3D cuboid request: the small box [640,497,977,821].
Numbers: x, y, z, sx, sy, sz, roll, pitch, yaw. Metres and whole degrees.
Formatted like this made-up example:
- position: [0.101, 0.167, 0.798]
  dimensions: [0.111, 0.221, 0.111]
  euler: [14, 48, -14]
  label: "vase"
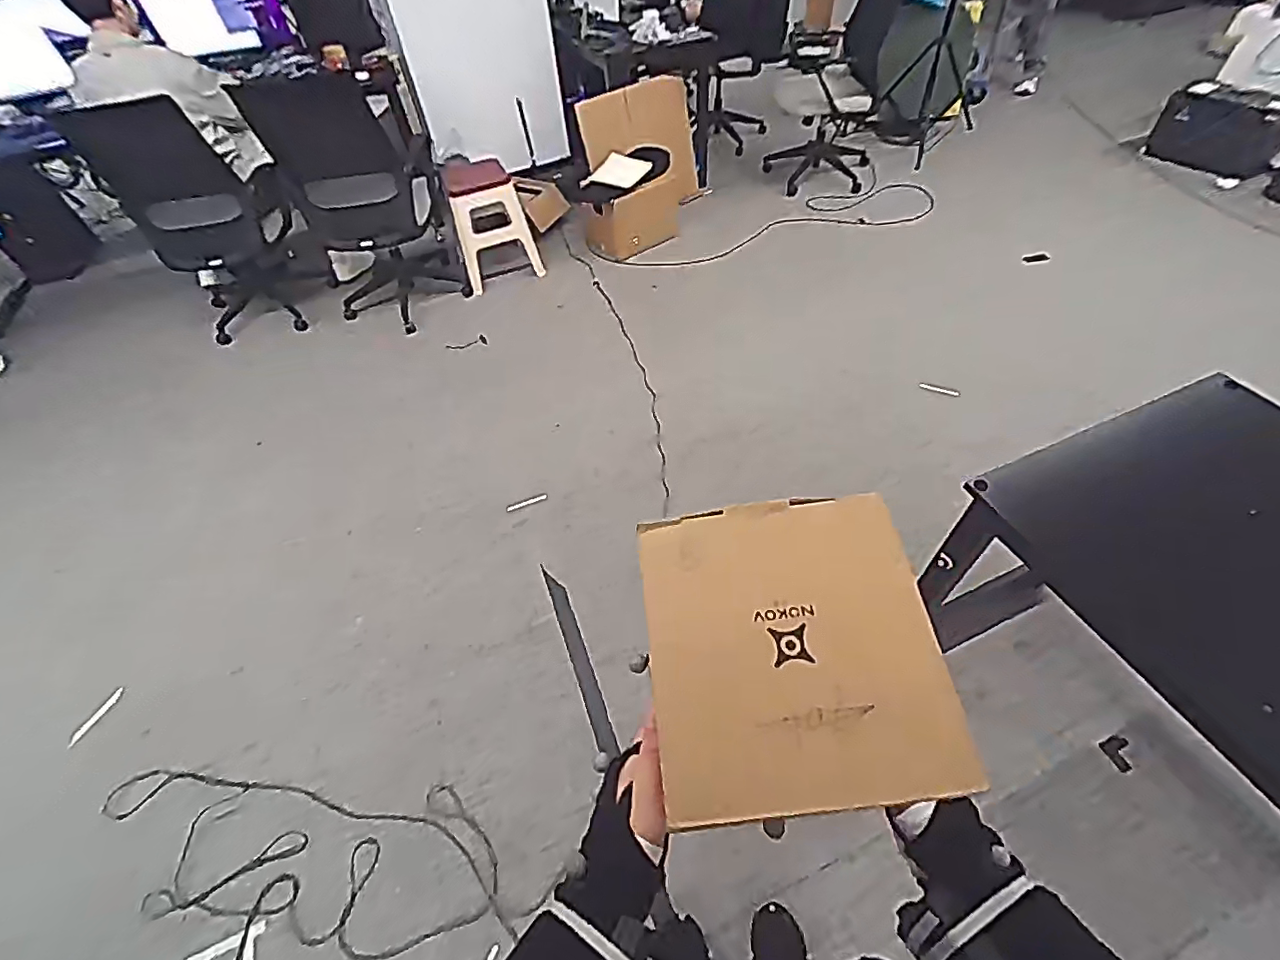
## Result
- position: [0.093, 0.135, 0.394]
  dimensions: [0.168, 0.176, 0.179]
  euler: [-8, 61, 1]
  label: "small box"
